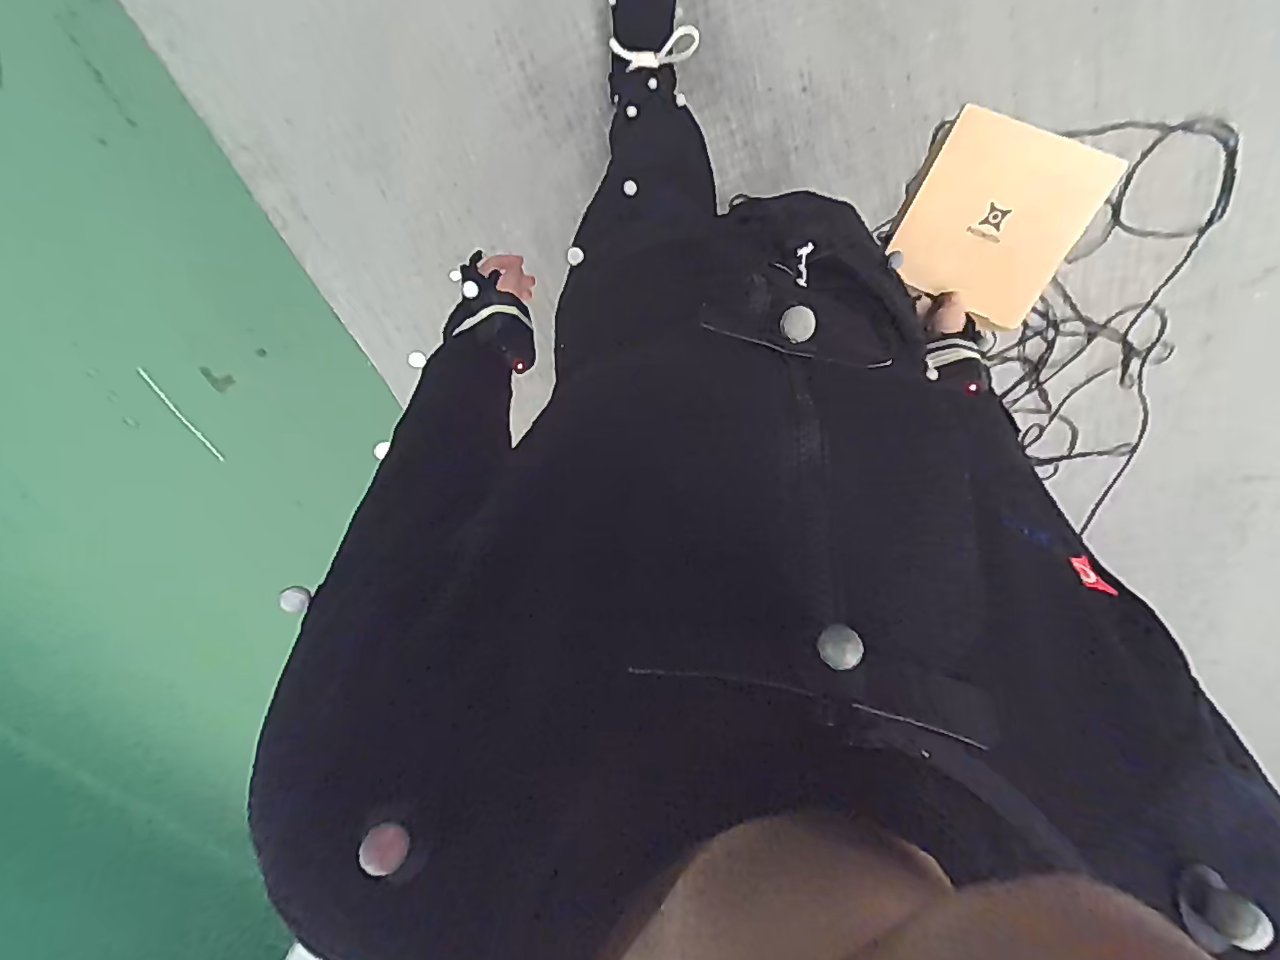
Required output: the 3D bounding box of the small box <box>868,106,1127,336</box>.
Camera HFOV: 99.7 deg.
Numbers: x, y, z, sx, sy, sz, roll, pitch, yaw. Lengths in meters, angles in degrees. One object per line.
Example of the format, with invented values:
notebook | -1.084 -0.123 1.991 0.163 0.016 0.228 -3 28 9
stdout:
small box | 0.387 -0.287 0.632 0.168 0.176 0.179 28 114 8
